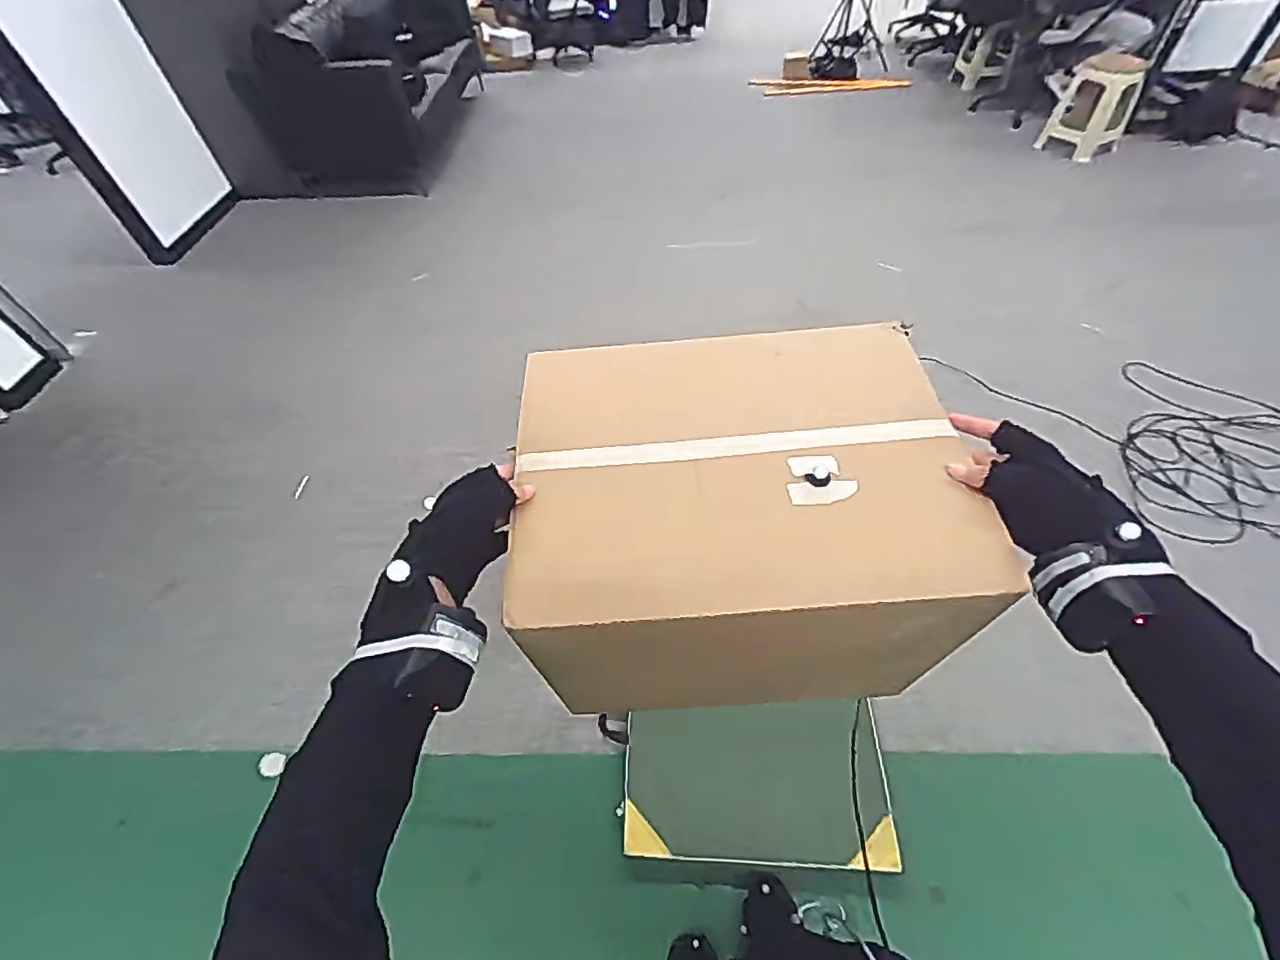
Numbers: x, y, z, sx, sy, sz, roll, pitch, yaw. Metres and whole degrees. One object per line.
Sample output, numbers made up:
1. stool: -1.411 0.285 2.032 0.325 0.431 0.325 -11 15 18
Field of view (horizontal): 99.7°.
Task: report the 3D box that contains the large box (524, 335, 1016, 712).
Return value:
1. large box: 0.100 0.064 0.634 0.408 0.320 0.320 -4 55 1
